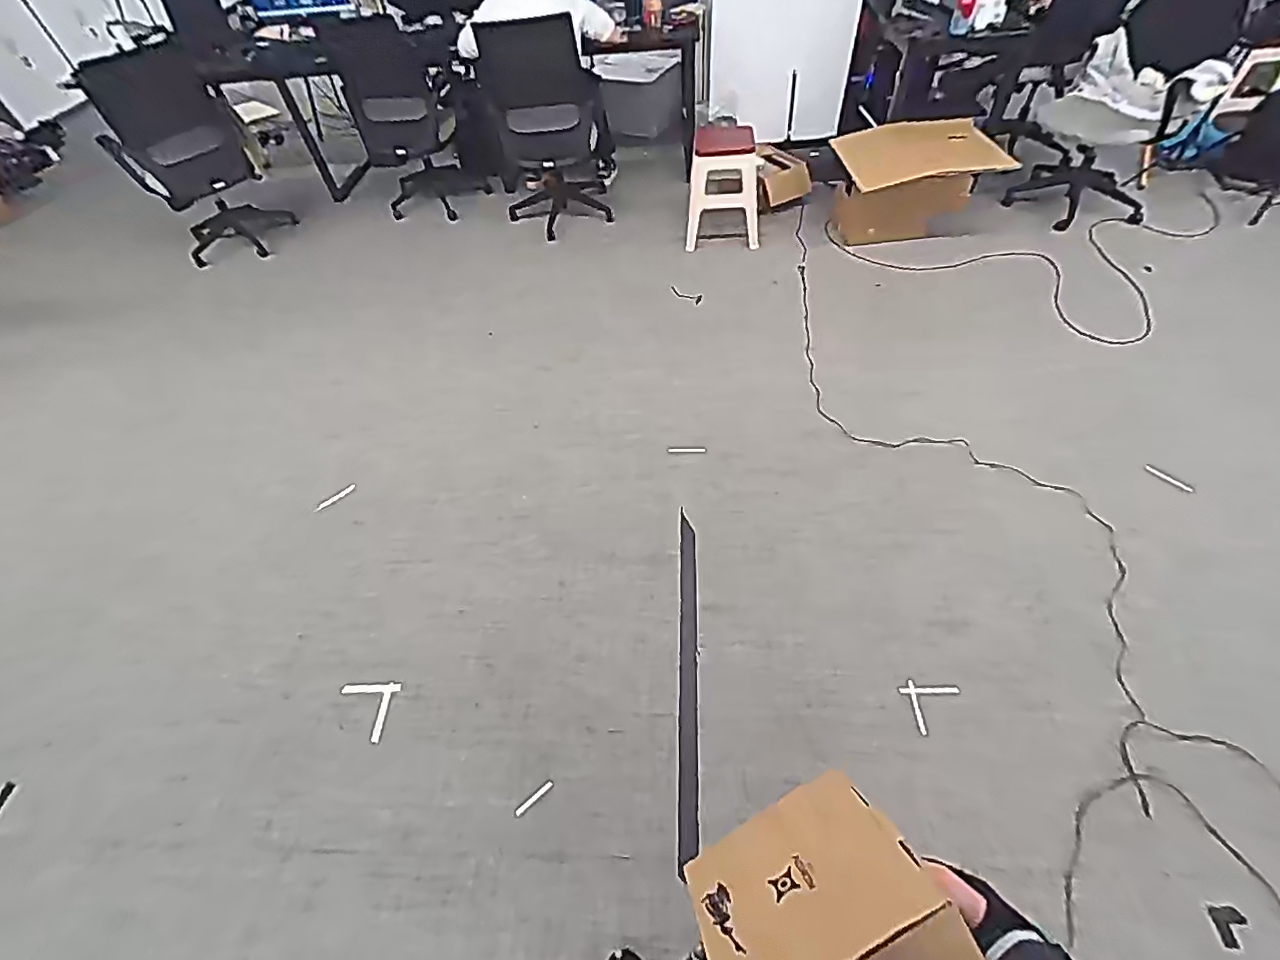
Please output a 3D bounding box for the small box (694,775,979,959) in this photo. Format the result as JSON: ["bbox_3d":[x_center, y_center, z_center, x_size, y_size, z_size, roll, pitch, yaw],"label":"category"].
[{"bbox_3d":[0.172,0.403,0.453,0.179,0.168,0.176,-29,93,-5],"label":"small box"}]
